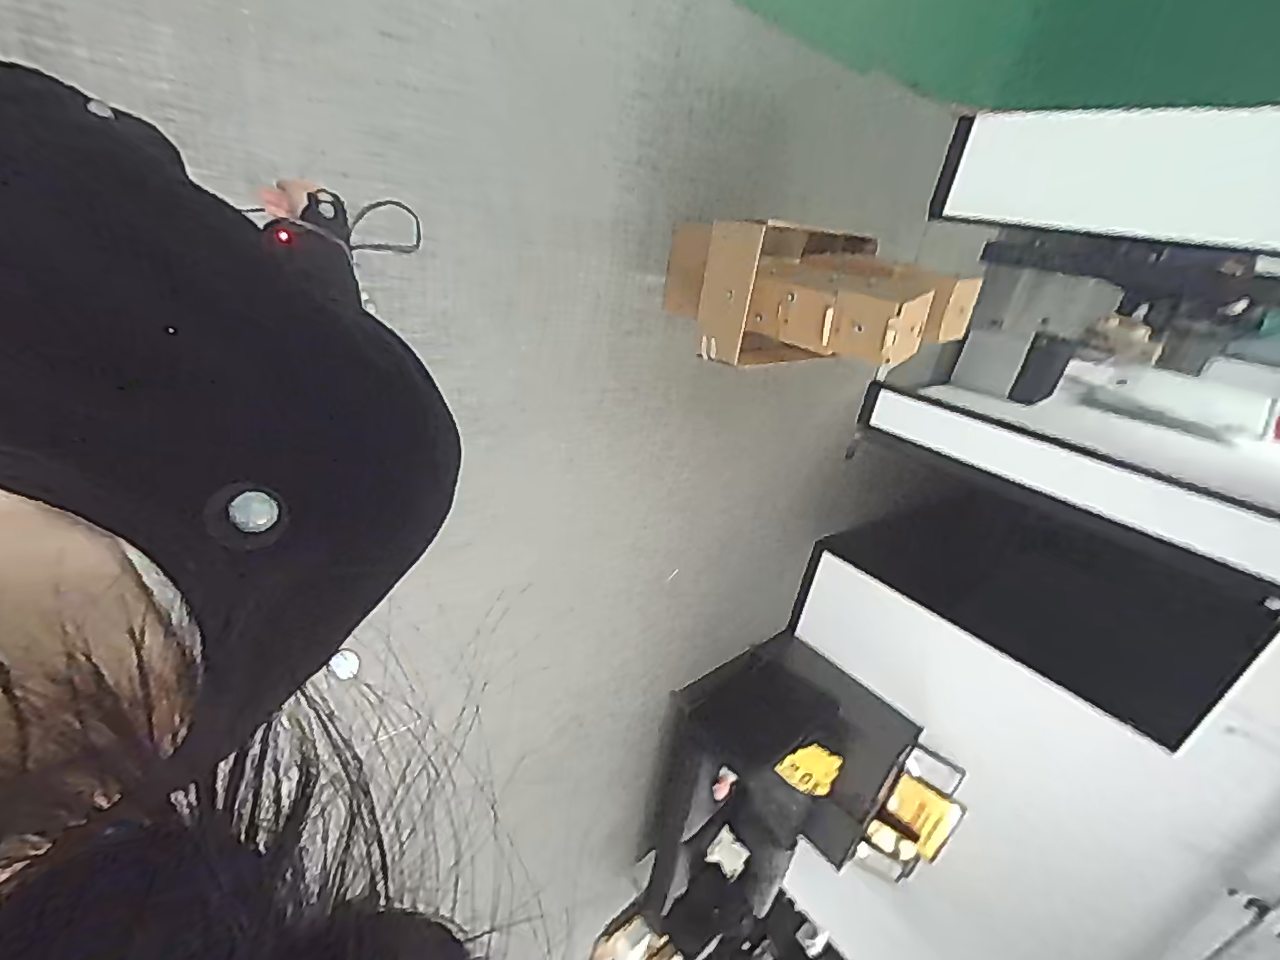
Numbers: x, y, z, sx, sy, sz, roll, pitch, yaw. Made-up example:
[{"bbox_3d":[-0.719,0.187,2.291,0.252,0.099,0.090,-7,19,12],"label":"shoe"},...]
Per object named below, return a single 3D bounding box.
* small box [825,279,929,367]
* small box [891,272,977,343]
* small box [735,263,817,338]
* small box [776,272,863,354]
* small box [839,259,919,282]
[{"bbox_3d":[0.610,-0.414,1.411,0.179,0.176,0.168,-25,132,-31],"label":"small box"},{"bbox_3d":[0.828,-0.504,1.563,0.179,0.176,0.168,-17,124,-36],"label":"small box"},{"bbox_3d":[0.404,-0.545,1.630,0.179,0.176,0.168,-28,132,-30],"label":"small box"},{"bbox_3d":[0.506,-0.475,1.524,0.179,0.176,0.168,-28,133,-30],"label":"small box"},{"bbox_3d":[0.716,-0.575,1.662,0.168,0.176,0.179,-19,126,-35],"label":"small box"}]
